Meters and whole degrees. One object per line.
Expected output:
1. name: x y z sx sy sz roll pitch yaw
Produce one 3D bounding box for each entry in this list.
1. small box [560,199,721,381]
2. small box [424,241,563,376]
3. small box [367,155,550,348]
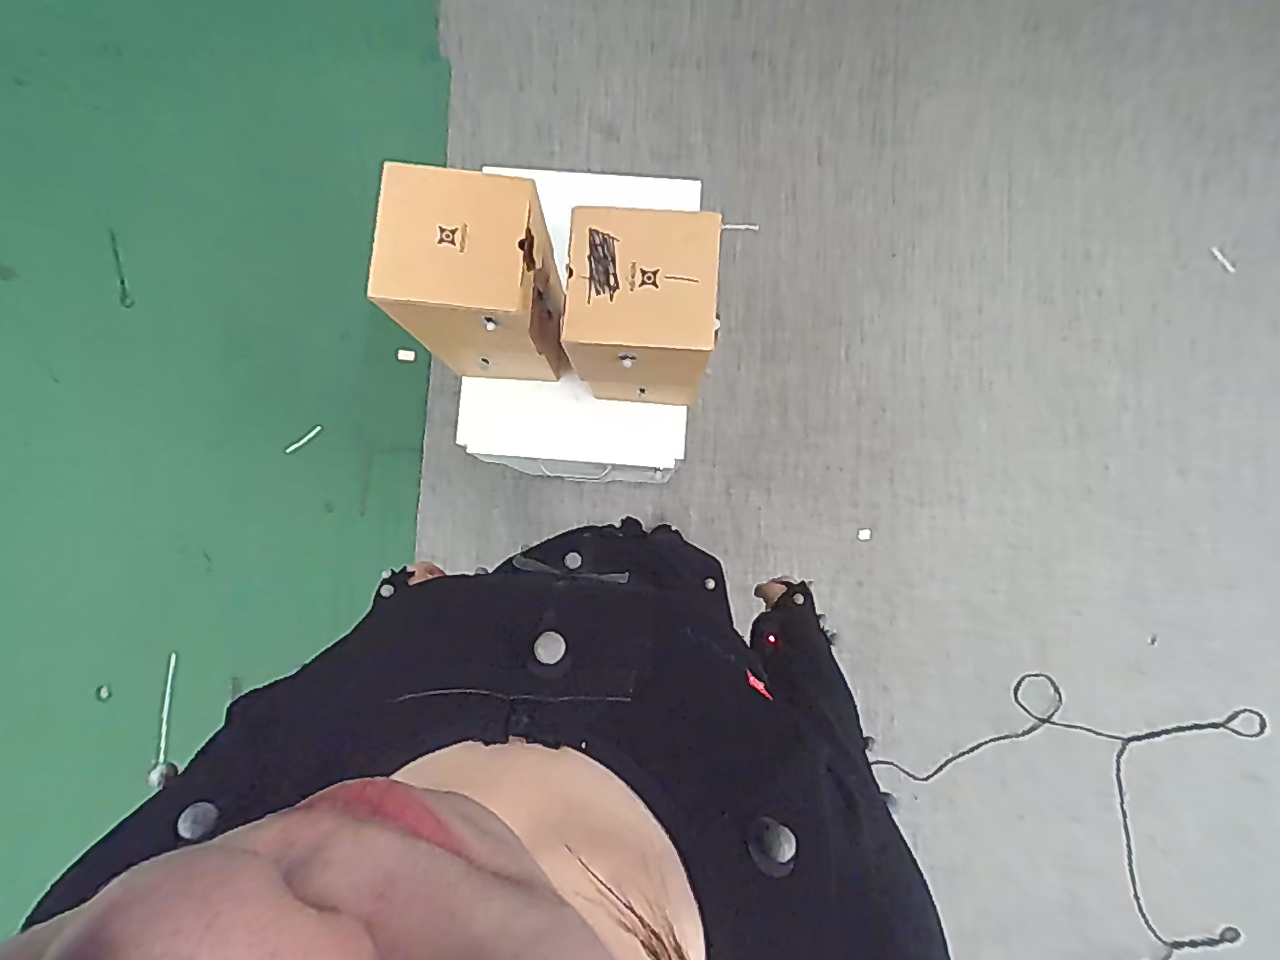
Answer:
1. small box: 0.003 -0.232 0.698 0.179 0.176 0.168 4 85 0
2. small box: -0.224 -0.270 0.865 0.179 0.176 0.168 3 85 -2
3. small box: -0.220 -0.281 0.701 0.179 0.176 0.168 5 85 -3
